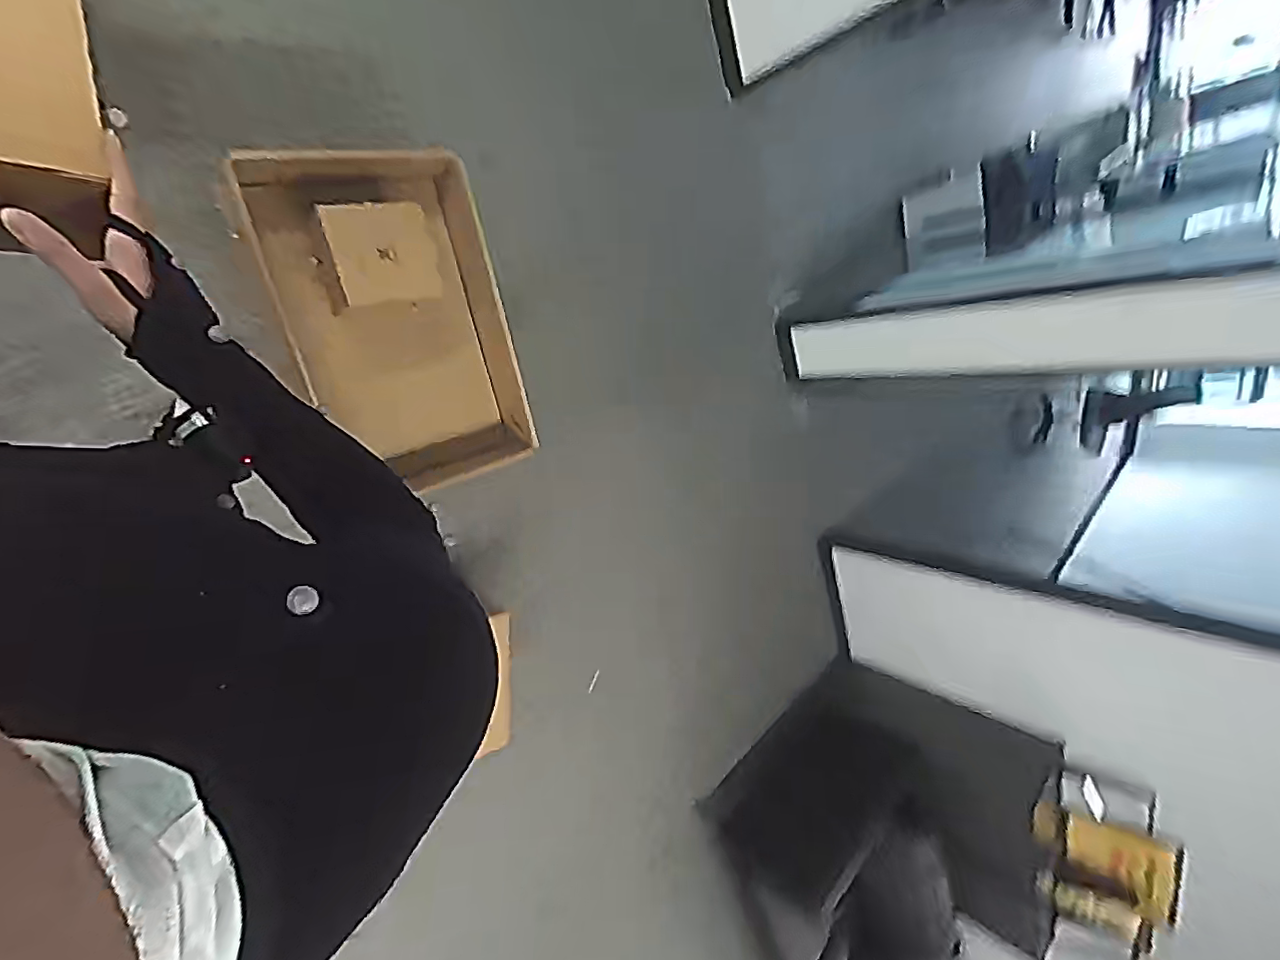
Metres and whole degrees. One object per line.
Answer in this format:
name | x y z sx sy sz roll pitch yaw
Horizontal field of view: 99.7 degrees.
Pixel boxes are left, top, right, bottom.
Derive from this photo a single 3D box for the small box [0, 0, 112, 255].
small box | -0.547 -0.304 0.426 0.168 0.176 0.179 -12 95 -42
